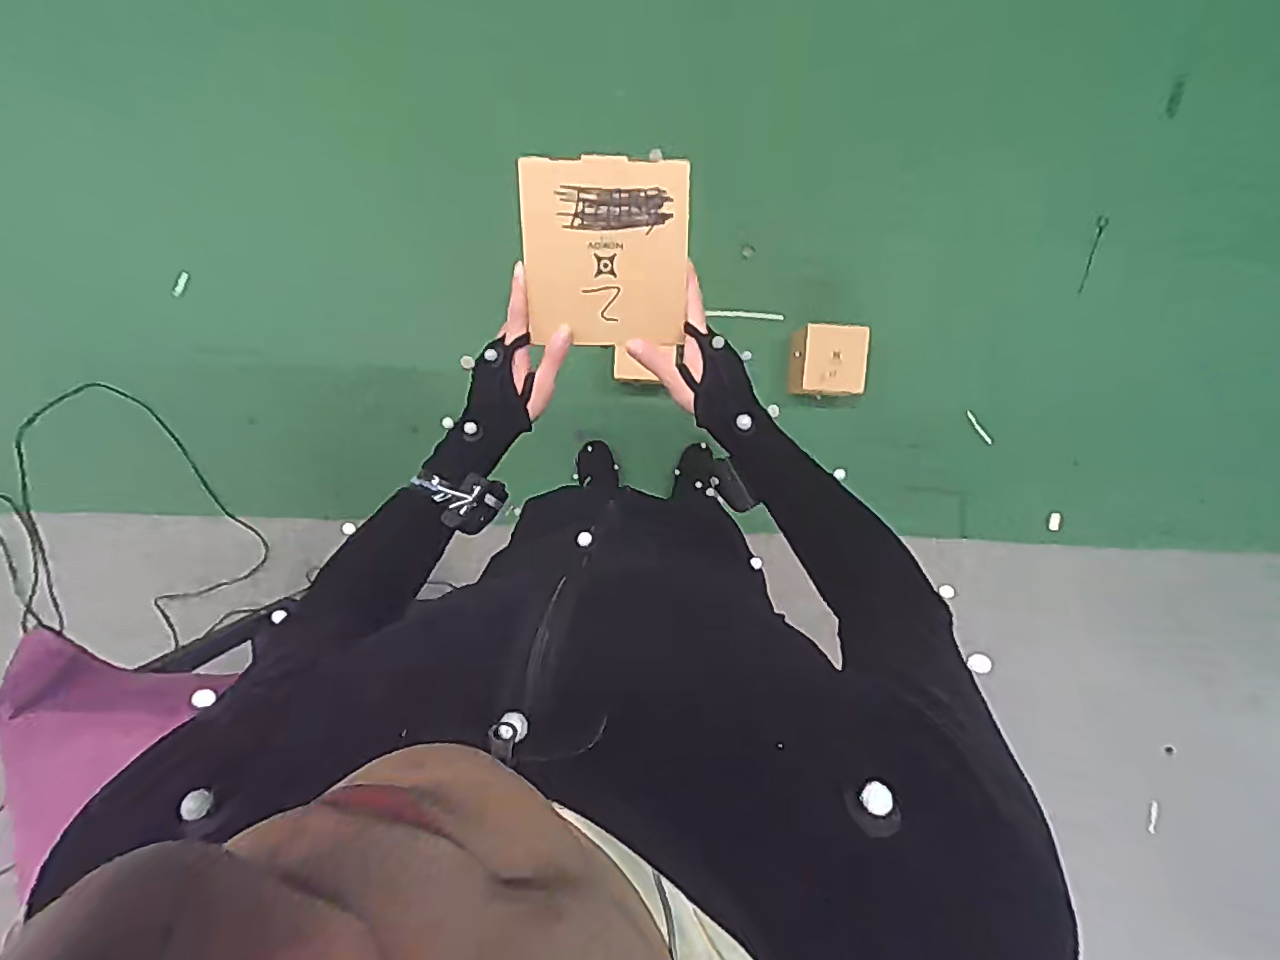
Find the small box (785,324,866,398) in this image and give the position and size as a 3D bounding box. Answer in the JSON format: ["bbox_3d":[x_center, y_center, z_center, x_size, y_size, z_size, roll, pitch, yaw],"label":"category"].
[{"bbox_3d":[0.513,-0.327,1.514,0.168,0.176,0.179,3,96,-1],"label":"small box"}]

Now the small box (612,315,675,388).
[{"bbox_3d":[0.010,-0.352,1.511,0.168,0.176,0.179,2,95,0],"label":"small box"}]
